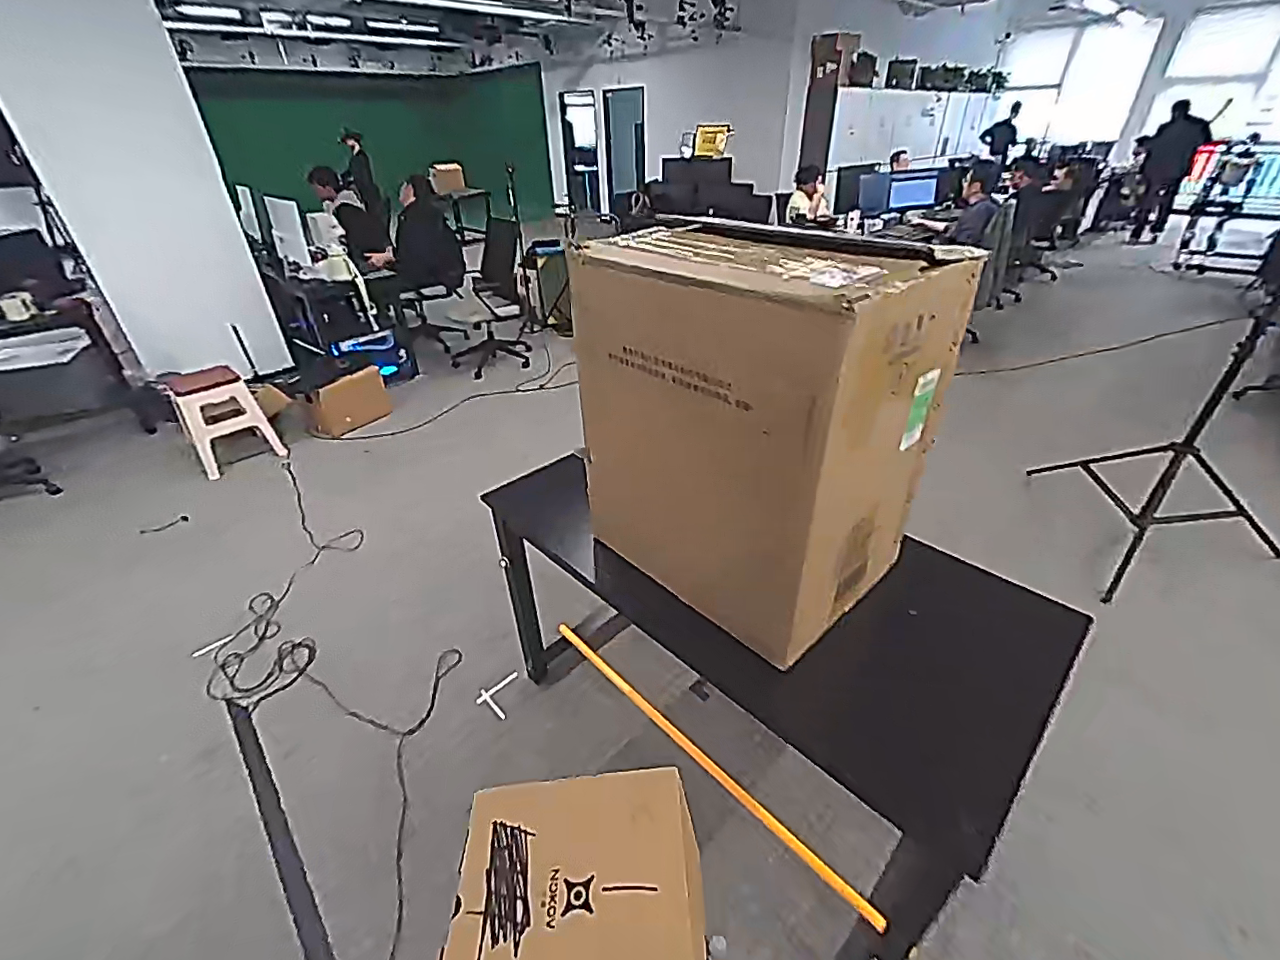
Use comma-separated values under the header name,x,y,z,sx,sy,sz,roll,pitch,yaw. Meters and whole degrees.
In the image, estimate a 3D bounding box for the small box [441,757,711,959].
name,x,y,z,sx,sy,sz,roll,pitch,yaw
small box,-0.038,0.354,0.435,0.179,0.176,0.168,-8,35,3
